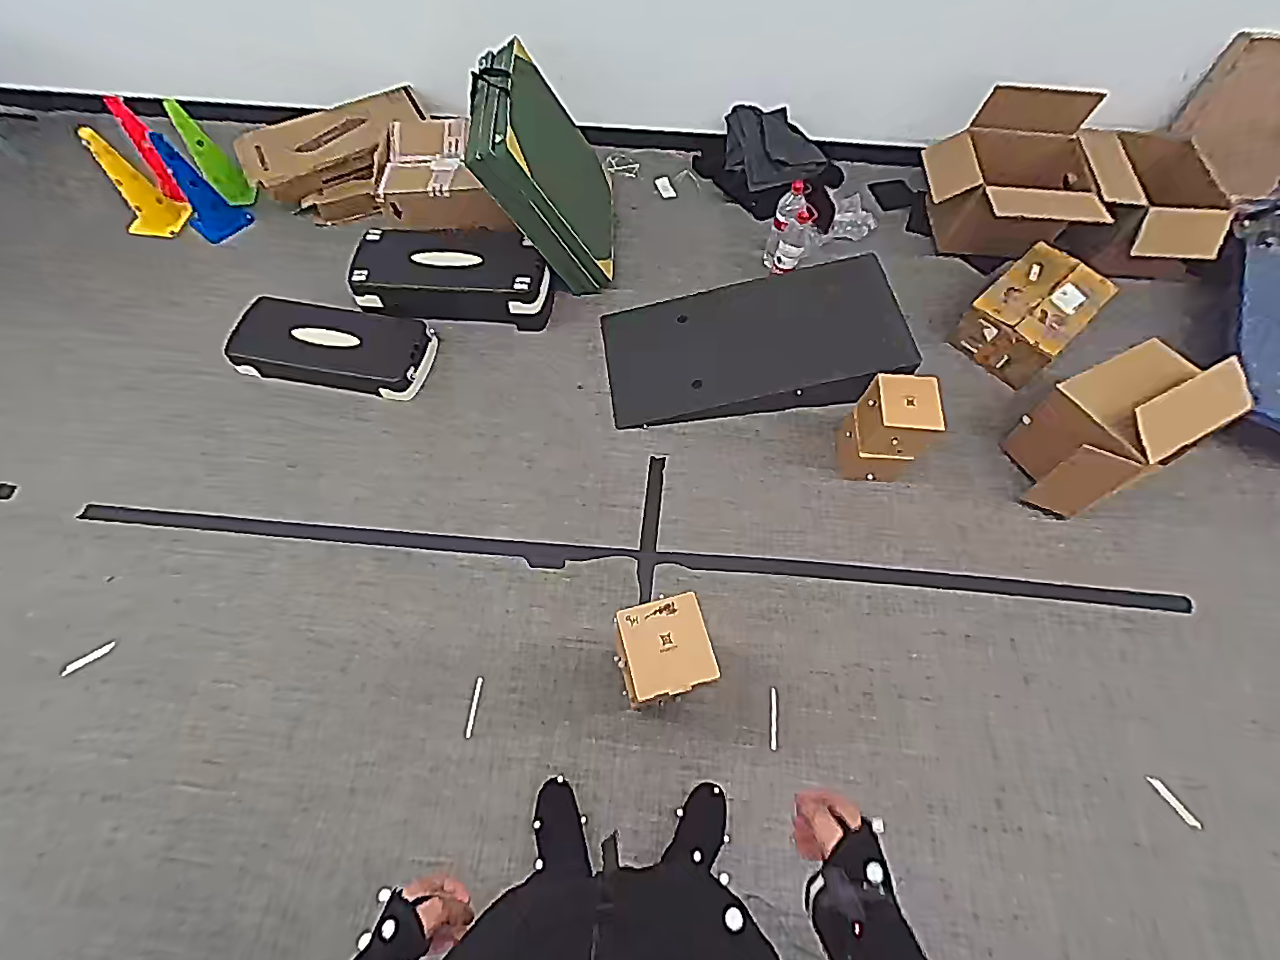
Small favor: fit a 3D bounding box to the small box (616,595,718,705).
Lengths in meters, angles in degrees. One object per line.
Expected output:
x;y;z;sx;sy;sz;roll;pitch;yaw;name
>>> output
0.051;0.357;1.123;0.168;0.176;0.179;-13;66;-7;small box
